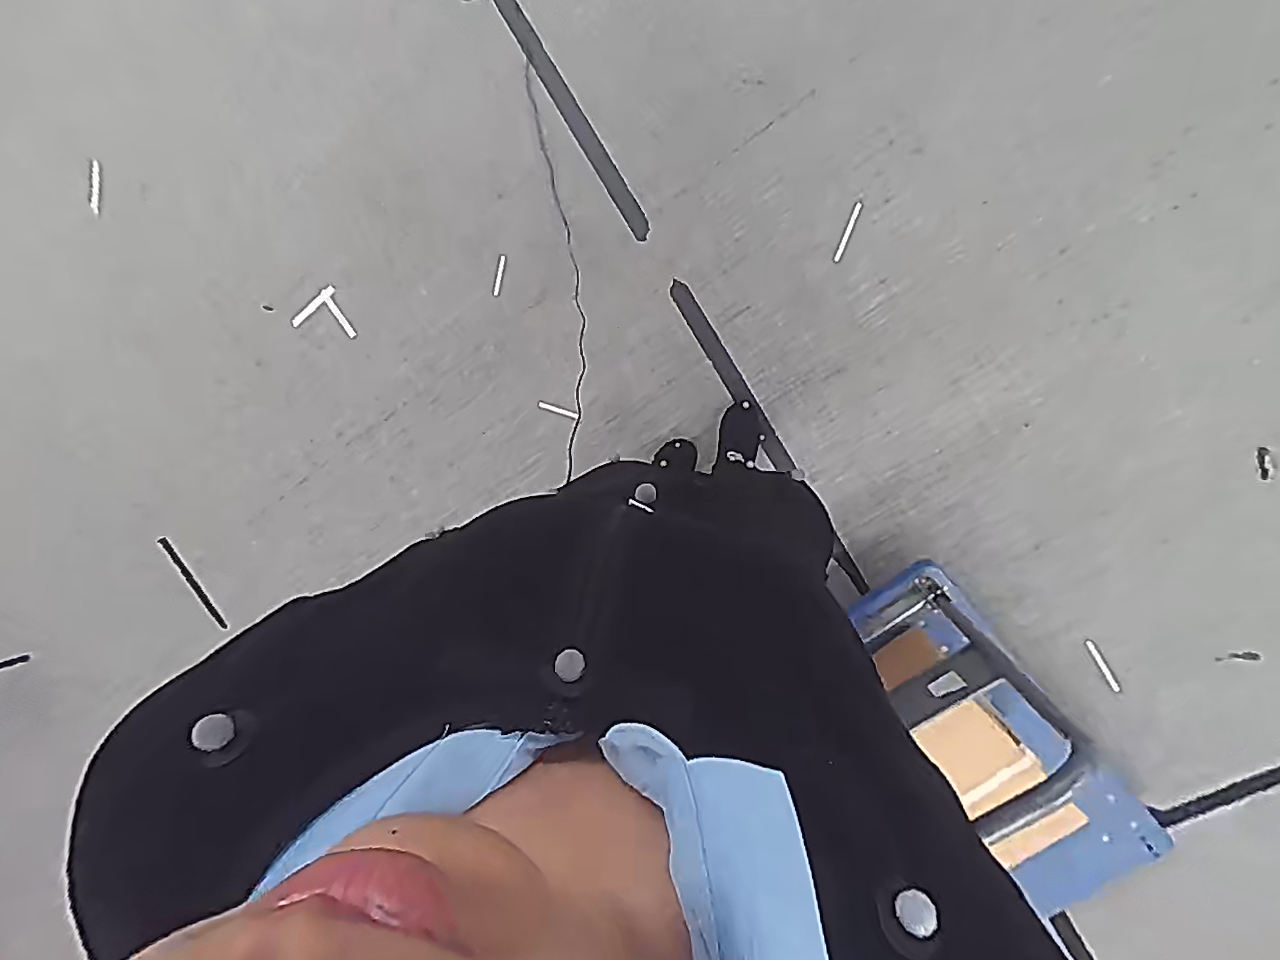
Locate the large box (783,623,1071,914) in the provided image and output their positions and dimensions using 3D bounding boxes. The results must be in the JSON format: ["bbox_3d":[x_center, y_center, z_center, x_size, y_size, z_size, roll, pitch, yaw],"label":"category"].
[{"bbox_3d":[0.571,0.594,1.170,0.408,0.320,0.320,-44,89,14],"label":"large box"}]
